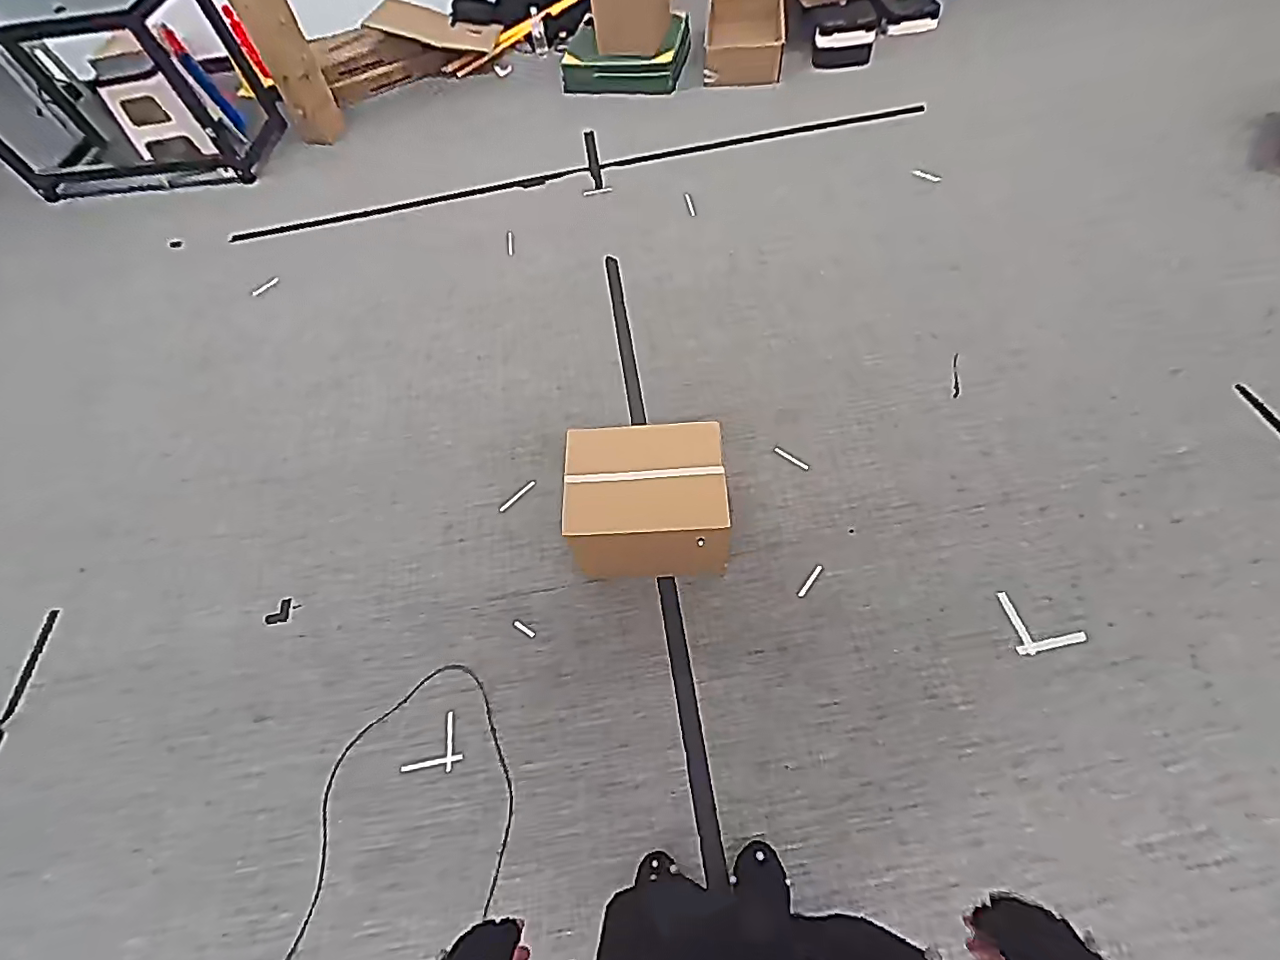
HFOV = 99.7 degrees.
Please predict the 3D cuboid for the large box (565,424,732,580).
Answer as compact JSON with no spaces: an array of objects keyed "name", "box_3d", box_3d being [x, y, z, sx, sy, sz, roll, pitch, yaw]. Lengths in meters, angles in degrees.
[{"name":"large box","box_3d":[0.026,0.072,1.475,0.408,0.320,0.320,-3,59,3]}]
